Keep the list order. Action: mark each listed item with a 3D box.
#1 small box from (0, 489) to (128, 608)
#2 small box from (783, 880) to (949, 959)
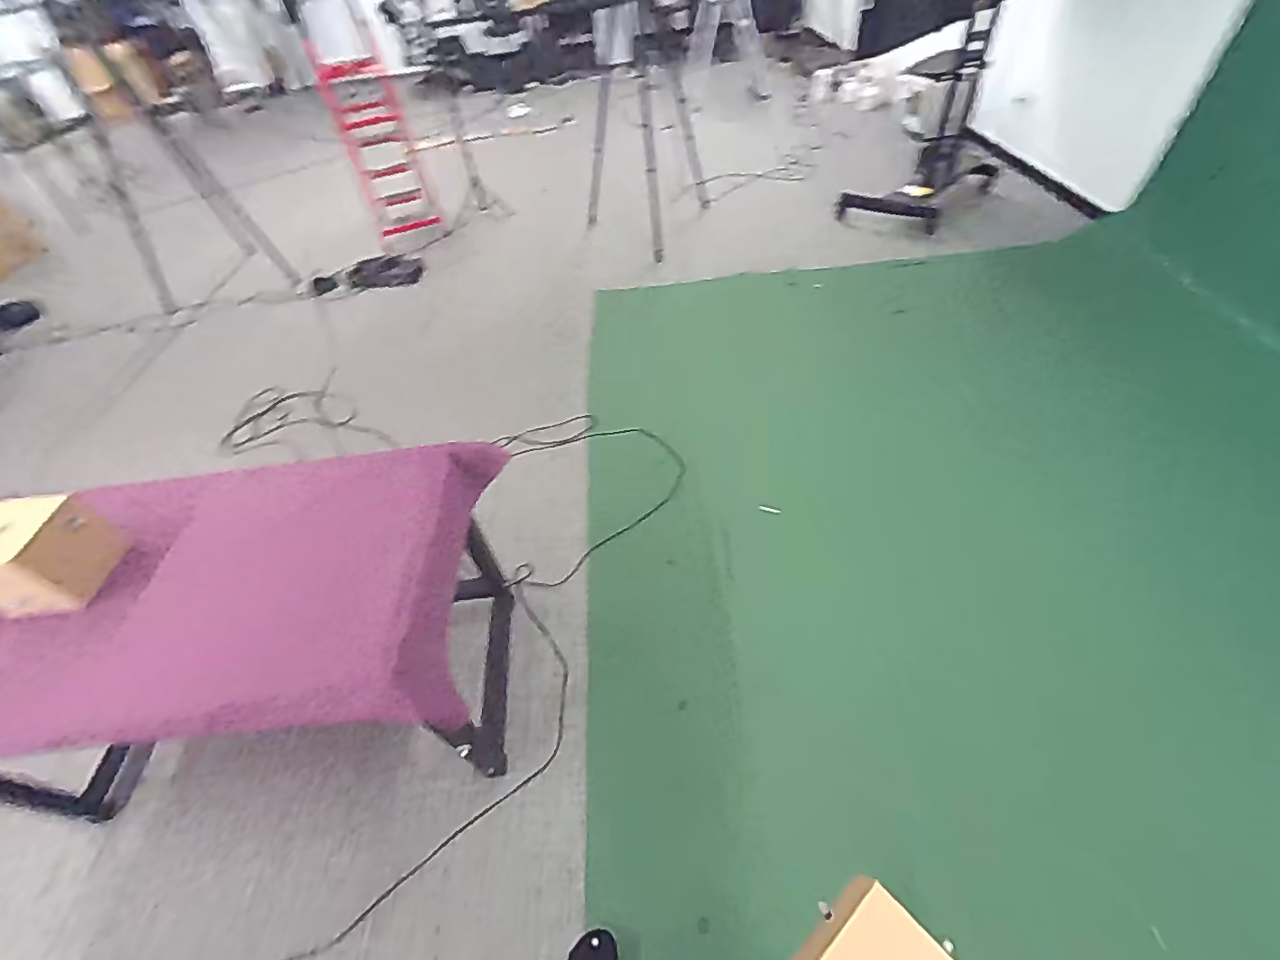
[{"bbox_3d":[-1.228,0.143,1.113,0.168,0.176,0.179,-5,48,2],"label":"small box"},{"bbox_3d":[0.276,0.593,0.612,0.168,0.176,0.179,-41,58,-16],"label":"small box"}]
